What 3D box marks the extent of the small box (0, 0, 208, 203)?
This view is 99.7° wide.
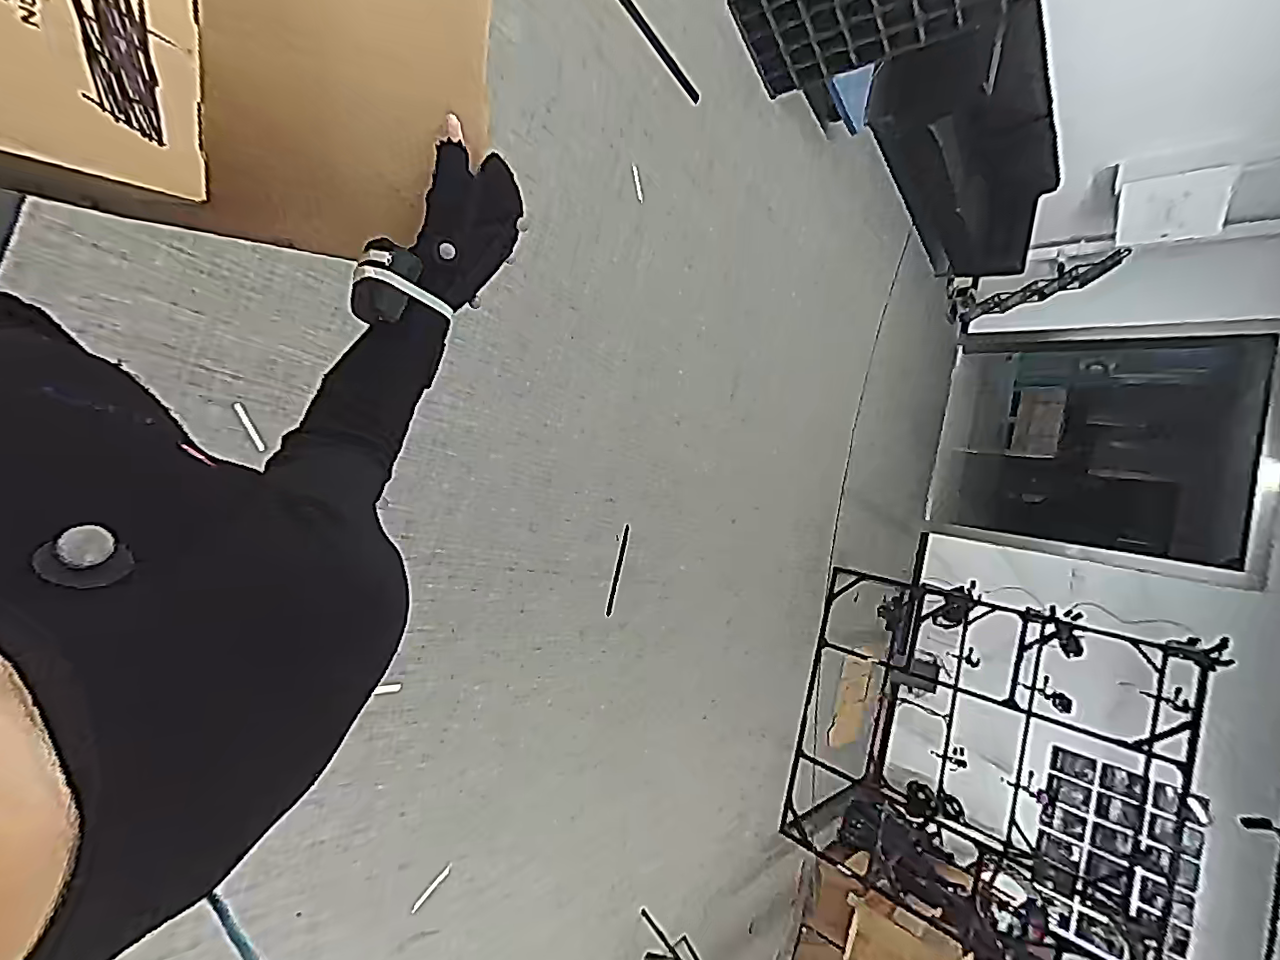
[{"bbox_3d":[-0.392,-0.273,0.306,0.179,0.176,0.168,-19,121,-61],"label":"small box"}]
